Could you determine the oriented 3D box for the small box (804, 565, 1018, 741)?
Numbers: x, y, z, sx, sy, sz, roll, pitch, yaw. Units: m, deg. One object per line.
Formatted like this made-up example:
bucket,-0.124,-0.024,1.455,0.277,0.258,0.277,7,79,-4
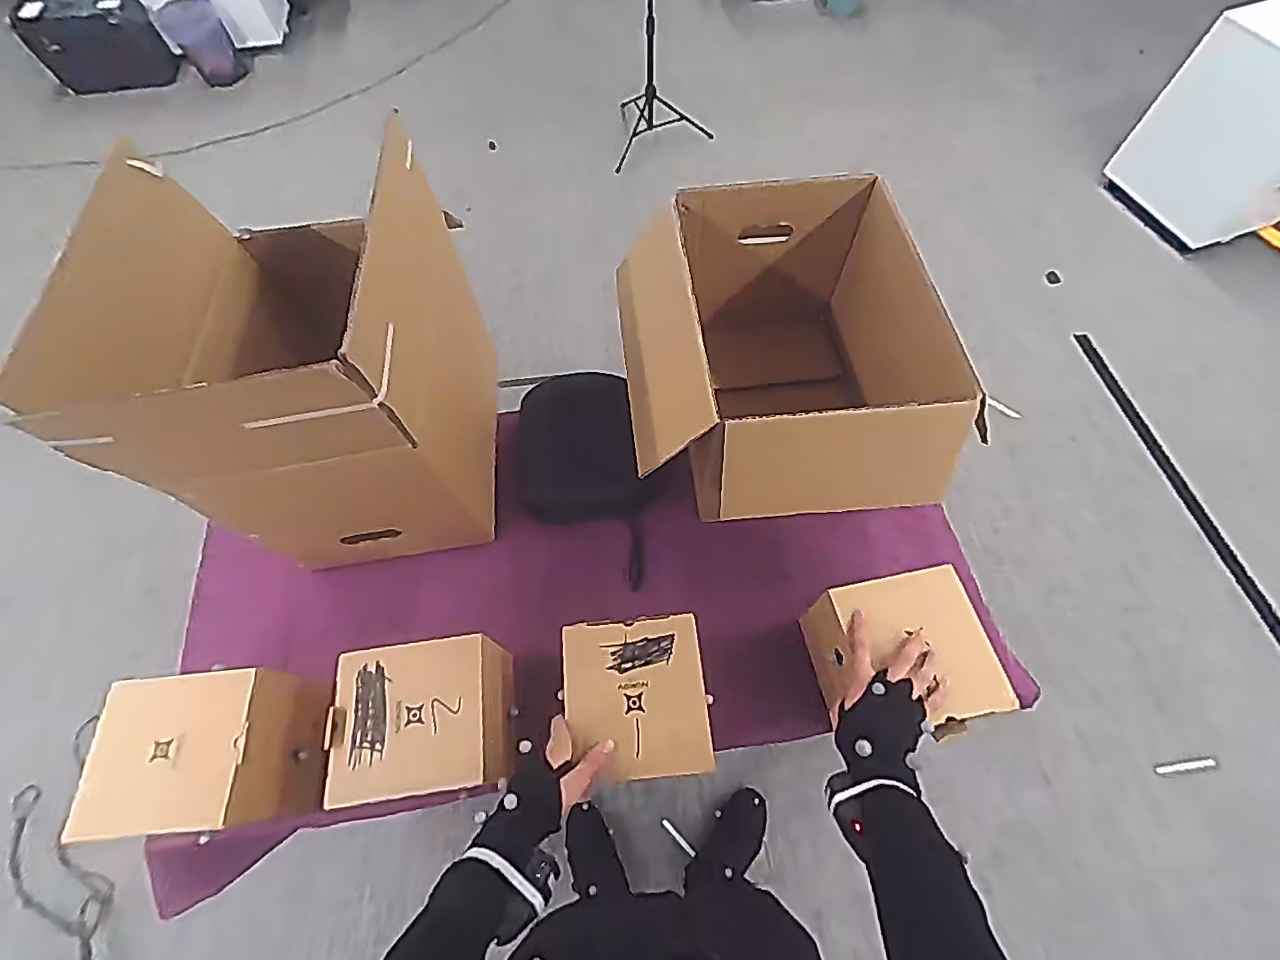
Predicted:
small box,0.334,0.233,0.713,0.168,0.176,0.179,-11,64,-3
